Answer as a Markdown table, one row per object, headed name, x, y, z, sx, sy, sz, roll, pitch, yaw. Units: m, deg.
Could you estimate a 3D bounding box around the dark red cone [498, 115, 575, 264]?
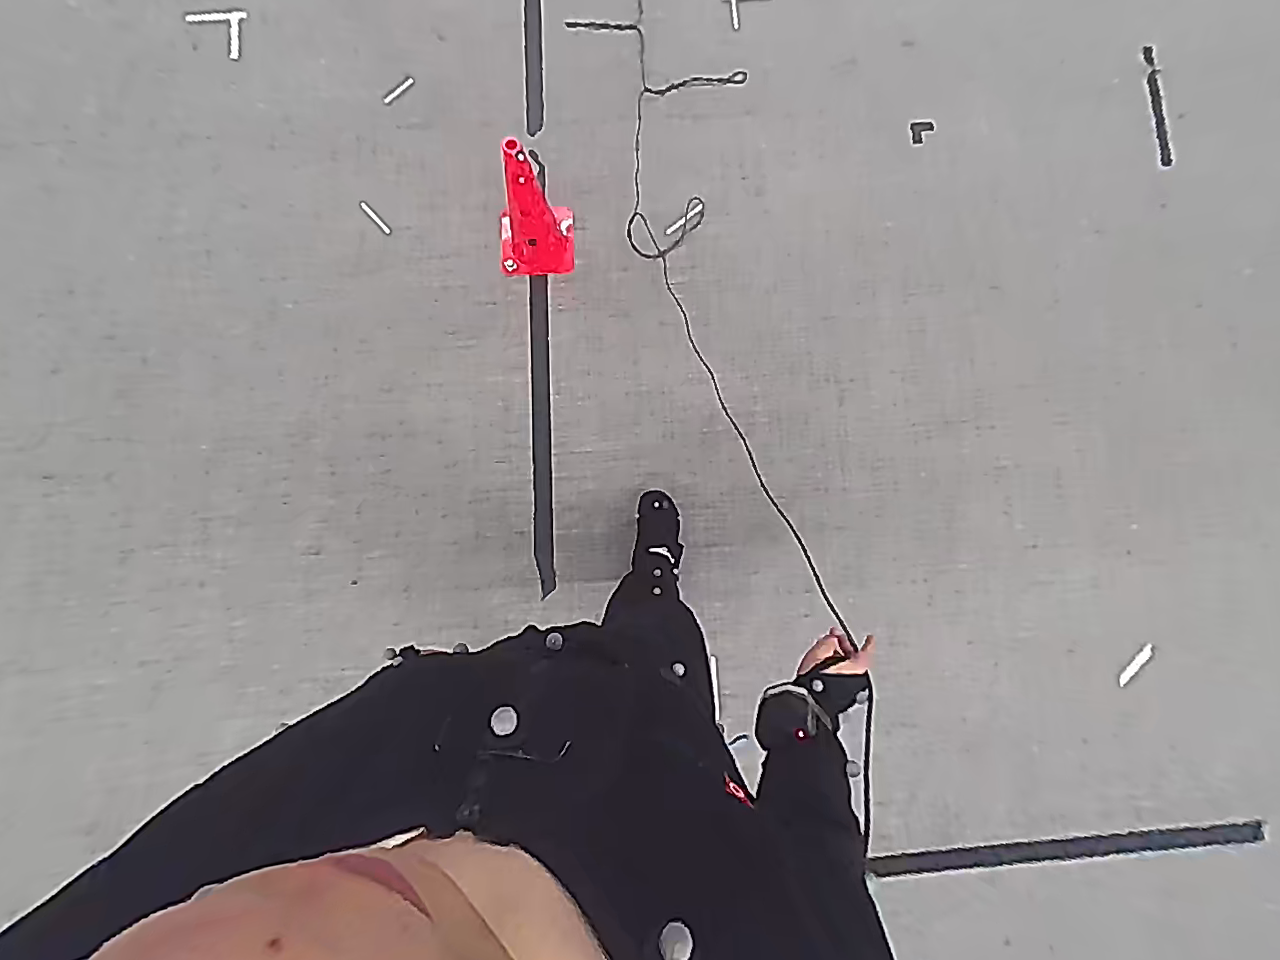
| name | x | y | z | sx | sy | sz | roll | pitch | yaw |
| --- | --- | --- | --- | --- | --- | --- | --- | --- | --- |
| dark red cone | -0.272 | -0.698 | 1.296 | 0.201 | 0.394 | 0.202 | -3 | 82 | -3 |
